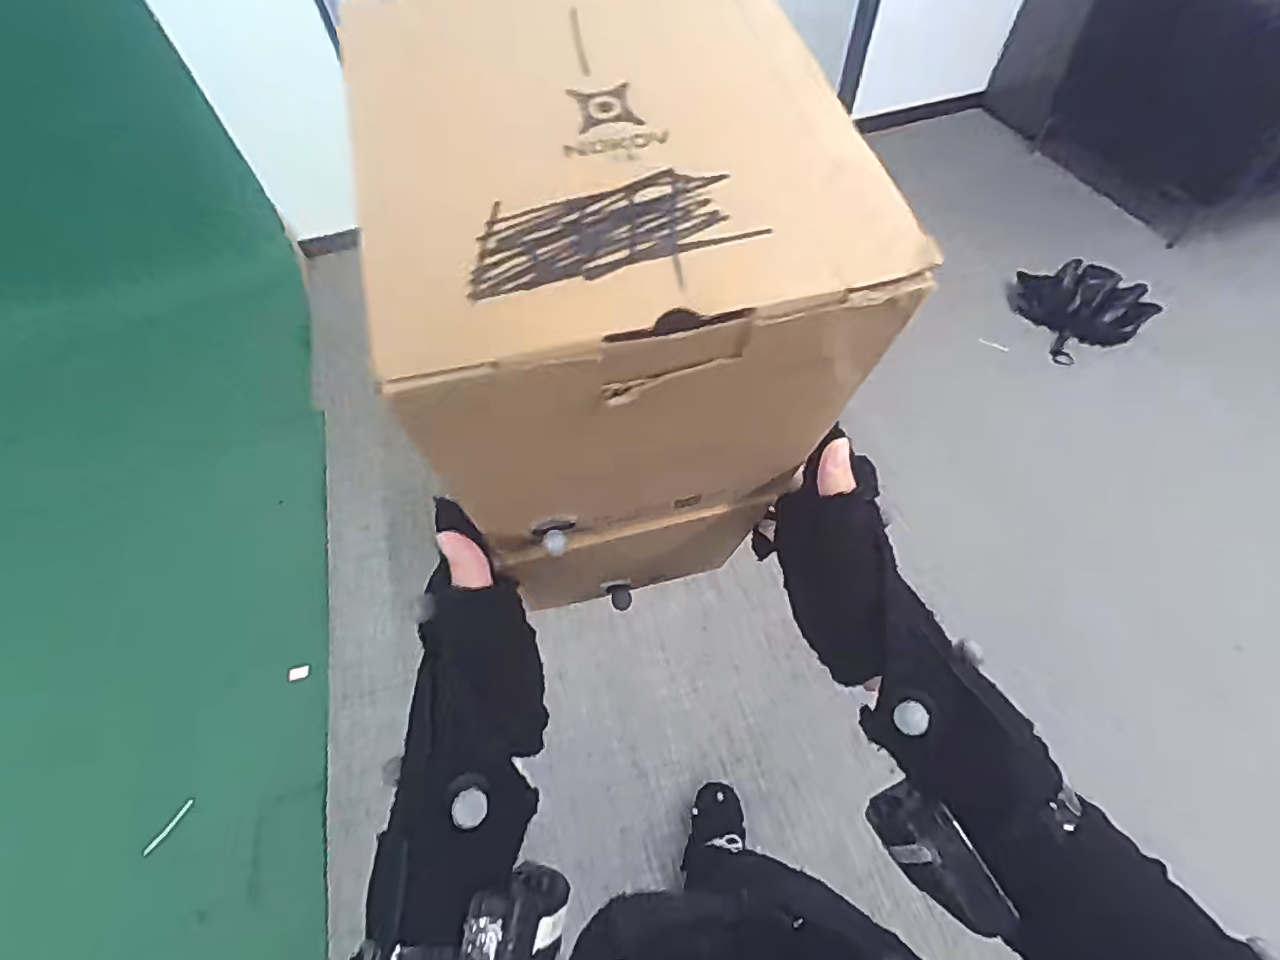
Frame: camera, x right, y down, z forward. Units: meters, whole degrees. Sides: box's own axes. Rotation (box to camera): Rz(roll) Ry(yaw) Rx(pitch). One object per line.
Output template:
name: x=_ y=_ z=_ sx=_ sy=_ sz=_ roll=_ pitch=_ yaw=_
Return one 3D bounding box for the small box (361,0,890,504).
small box: x=-0.018 y=-0.099 z=0.272 sx=0.168 sy=0.176 sz=0.179 roll=-12 pitch=67 yaw=-8

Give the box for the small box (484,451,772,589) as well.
small box: x=-0.027 y=-0.035 z=0.405 sx=0.168 sy=0.176 sz=0.179 roll=-12 pitch=68 yaw=-9
